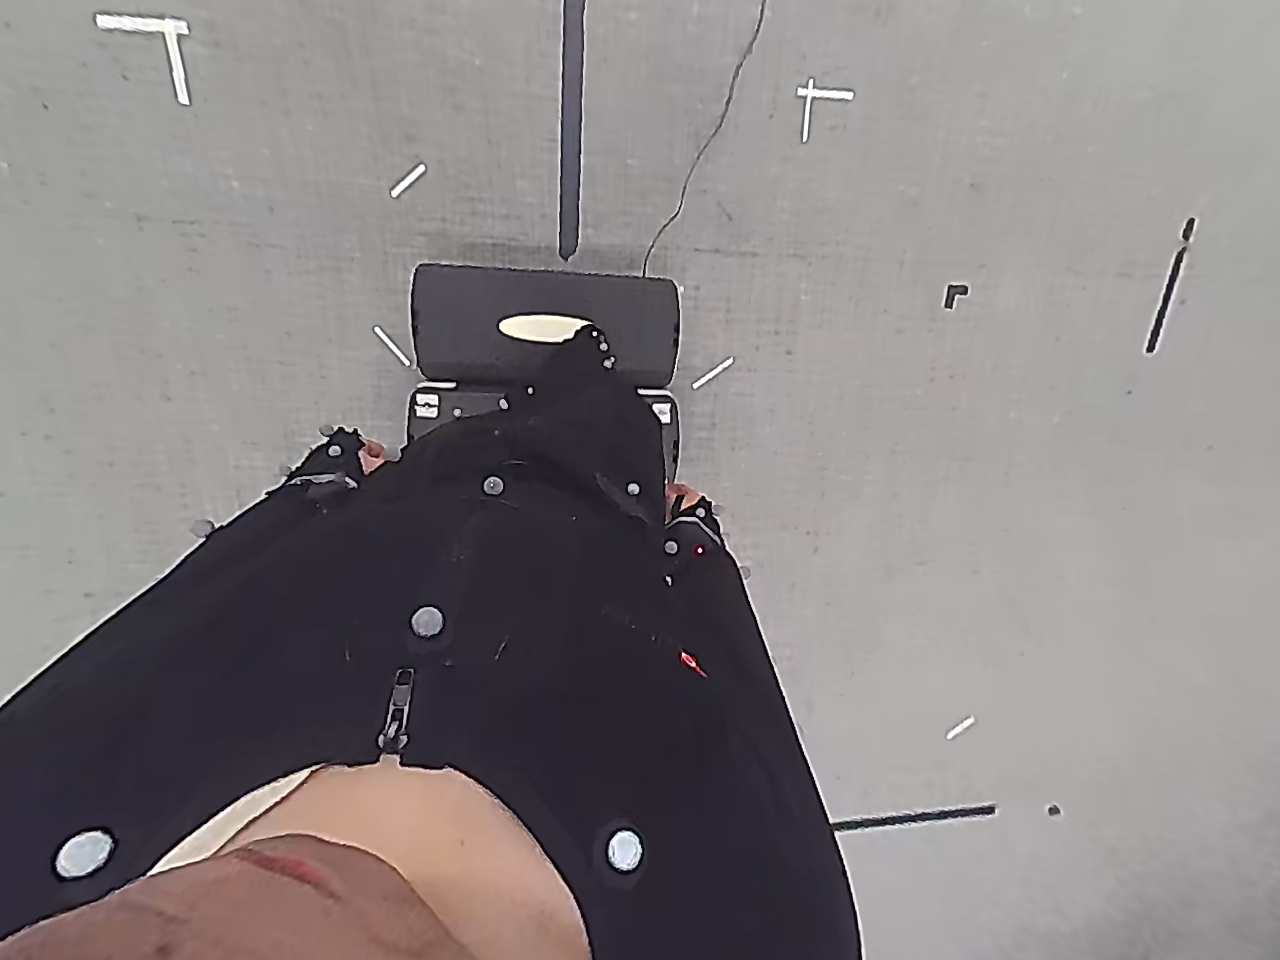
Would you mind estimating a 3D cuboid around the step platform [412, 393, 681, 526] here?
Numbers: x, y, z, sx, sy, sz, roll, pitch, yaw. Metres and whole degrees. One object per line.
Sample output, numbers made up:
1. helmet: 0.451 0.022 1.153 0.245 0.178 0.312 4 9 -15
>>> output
1. step platform: -0.234 -0.053 1.429 0.684 0.204 0.286 5 103 -8
